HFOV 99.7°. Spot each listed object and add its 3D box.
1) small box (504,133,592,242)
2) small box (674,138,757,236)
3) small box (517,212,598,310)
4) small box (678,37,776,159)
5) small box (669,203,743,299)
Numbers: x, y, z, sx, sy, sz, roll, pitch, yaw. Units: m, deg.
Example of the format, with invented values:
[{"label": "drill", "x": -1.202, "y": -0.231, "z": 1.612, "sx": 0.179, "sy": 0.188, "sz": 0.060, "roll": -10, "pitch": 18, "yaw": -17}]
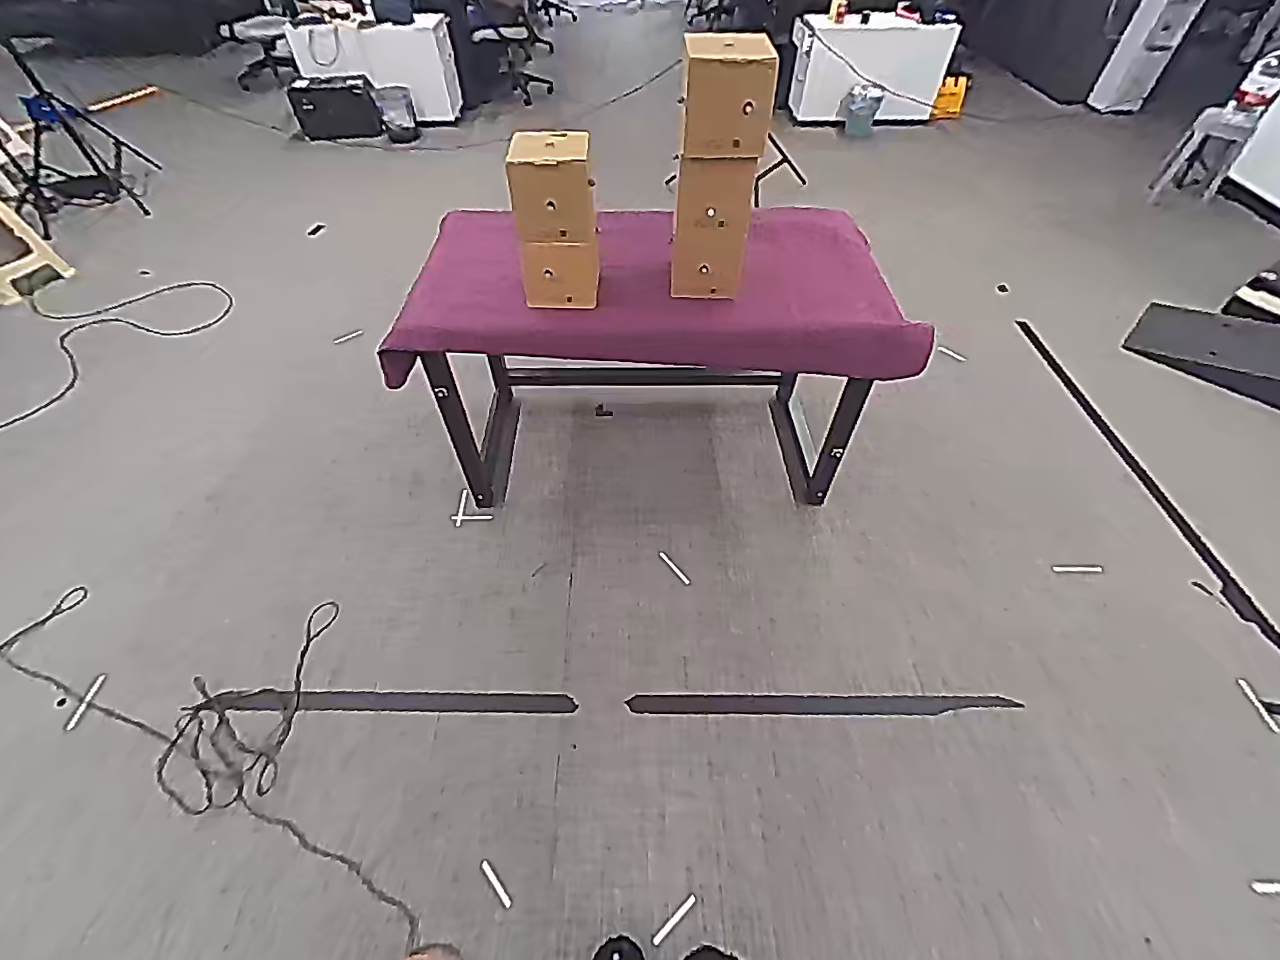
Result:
[{"label": "small box", "x": -0.194, "y": -0.643, "z": 1.196, "sx": 0.168, "sy": 0.176, "sz": 0.179, "roll": -1, "pitch": 50, "yaw": -2}, {"label": "small box", "x": 0.163, "y": -0.678, "z": 1.226, "sx": 0.168, "sy": 0.176, "sz": 0.179, "roll": 2, "pitch": 51, "yaw": 1}, {"label": "small box", "x": -0.193, "y": -0.532, "z": 1.317, "sx": 0.168, "sy": 0.176, "sz": 0.179, "roll": 1, "pitch": 49, "yaw": 0}, {"label": "small box", "x": 0.166, "y": -0.765, "z": 1.087, "sx": 0.168, "sy": 0.176, "sz": 0.179, "roll": 0, "pitch": 50, "yaw": -1}, {"label": "small box", "x": 0.159, "y": -0.571, "z": 1.350, "sx": 0.168, "sy": 0.176, "sz": 0.179, "roll": 2, "pitch": 50, "yaw": 1}]
